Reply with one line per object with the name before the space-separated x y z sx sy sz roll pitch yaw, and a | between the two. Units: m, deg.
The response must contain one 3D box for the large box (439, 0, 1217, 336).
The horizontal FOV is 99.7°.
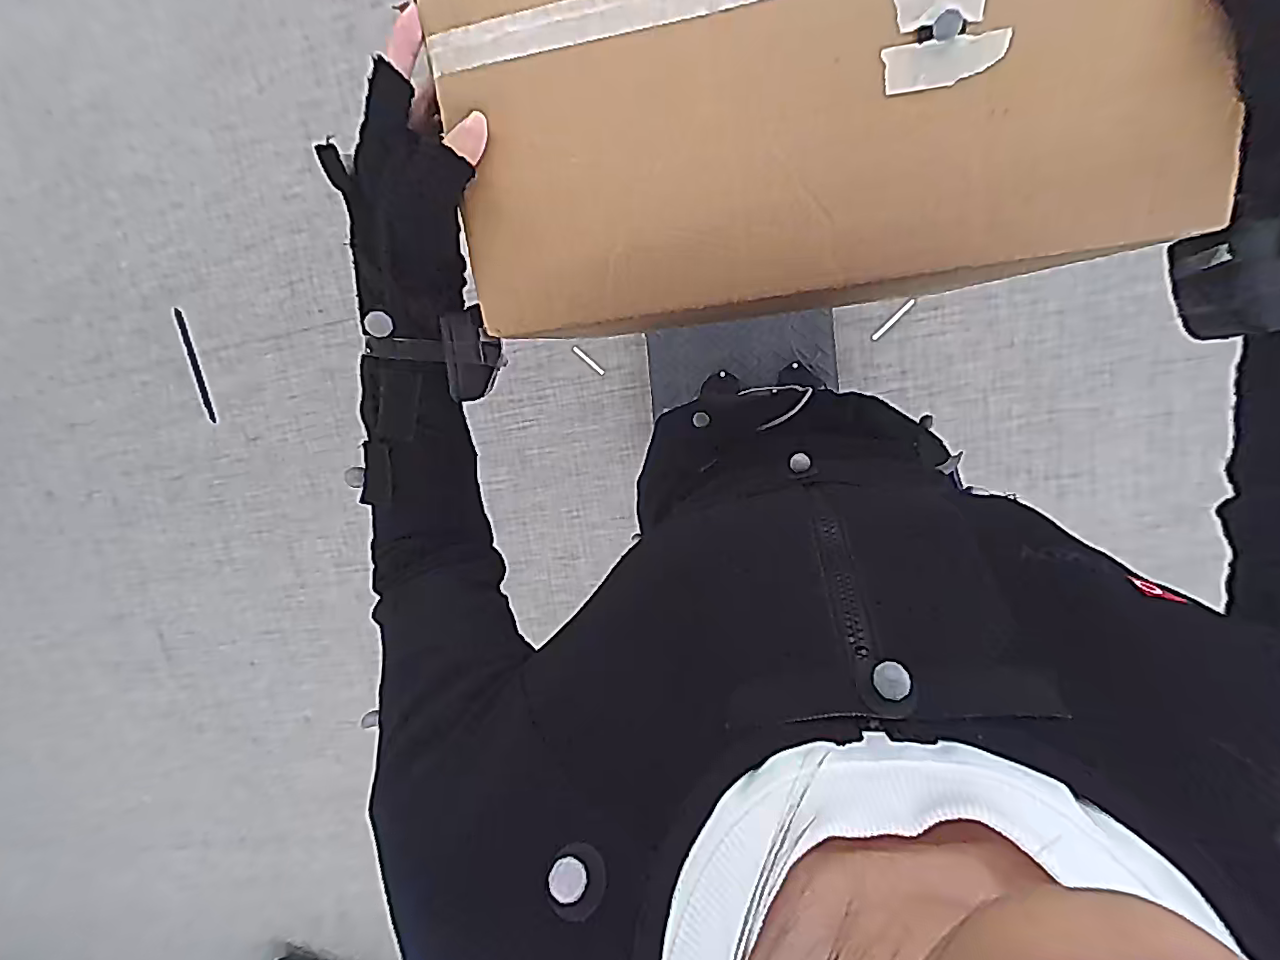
large box | 0.100 -0.303 0.430 0.408 0.320 0.320 -6 104 9
